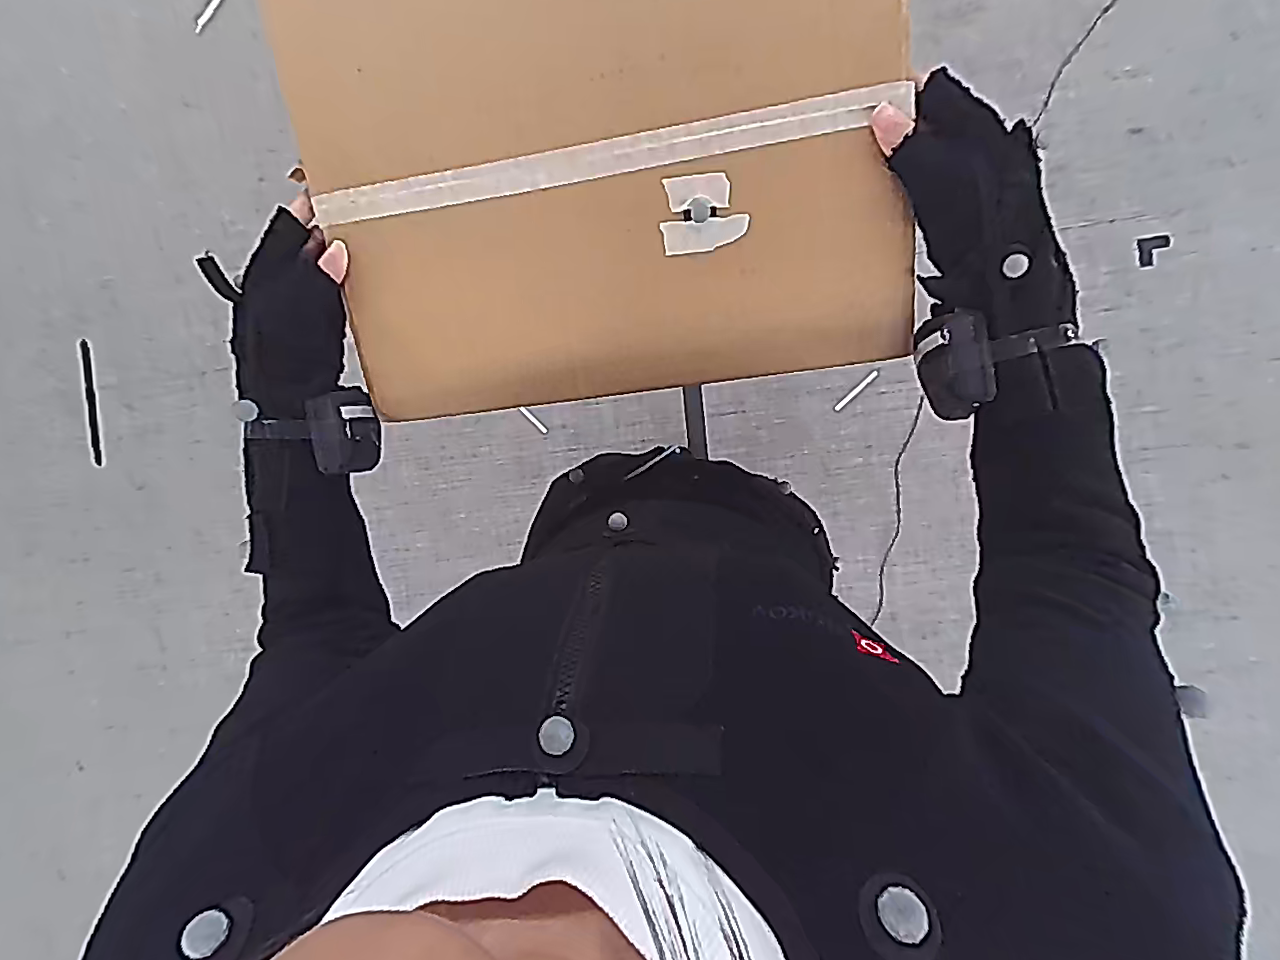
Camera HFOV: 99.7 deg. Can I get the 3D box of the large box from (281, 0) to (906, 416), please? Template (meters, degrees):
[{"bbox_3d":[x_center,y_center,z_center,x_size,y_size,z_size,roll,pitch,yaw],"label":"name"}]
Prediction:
[{"bbox_3d":[-0.015,-0.264,0.517,0.408,0.320,0.320,-7,107,7],"label":"large box"}]
